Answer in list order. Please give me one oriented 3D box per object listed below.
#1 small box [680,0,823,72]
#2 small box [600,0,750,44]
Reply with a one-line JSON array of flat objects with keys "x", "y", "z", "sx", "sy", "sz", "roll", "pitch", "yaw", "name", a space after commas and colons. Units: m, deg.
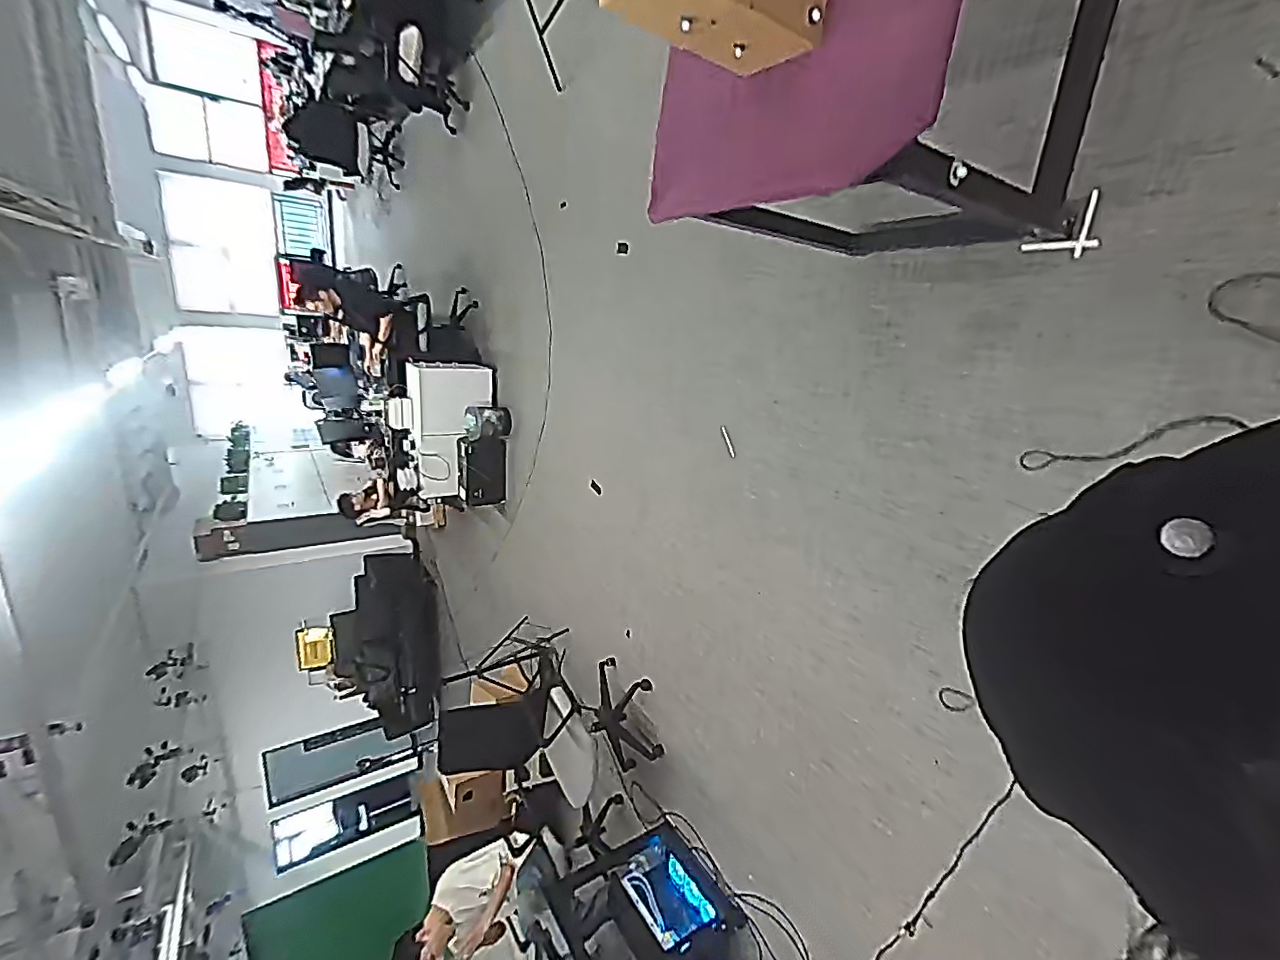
[{"x": 0.191, "y": -0.813, "z": 0.889, "sx": 0.179, "sy": 0.176, "sz": 0.168, "roll": 28, "pitch": 117, "yaw": 51, "name": "small box"}, {"x": 0.060, "y": -0.792, "z": 0.790, "sx": 0.168, "sy": 0.176, "sz": 0.179, "roll": 27, "pitch": 117, "yaw": 51, "name": "small box"}]
